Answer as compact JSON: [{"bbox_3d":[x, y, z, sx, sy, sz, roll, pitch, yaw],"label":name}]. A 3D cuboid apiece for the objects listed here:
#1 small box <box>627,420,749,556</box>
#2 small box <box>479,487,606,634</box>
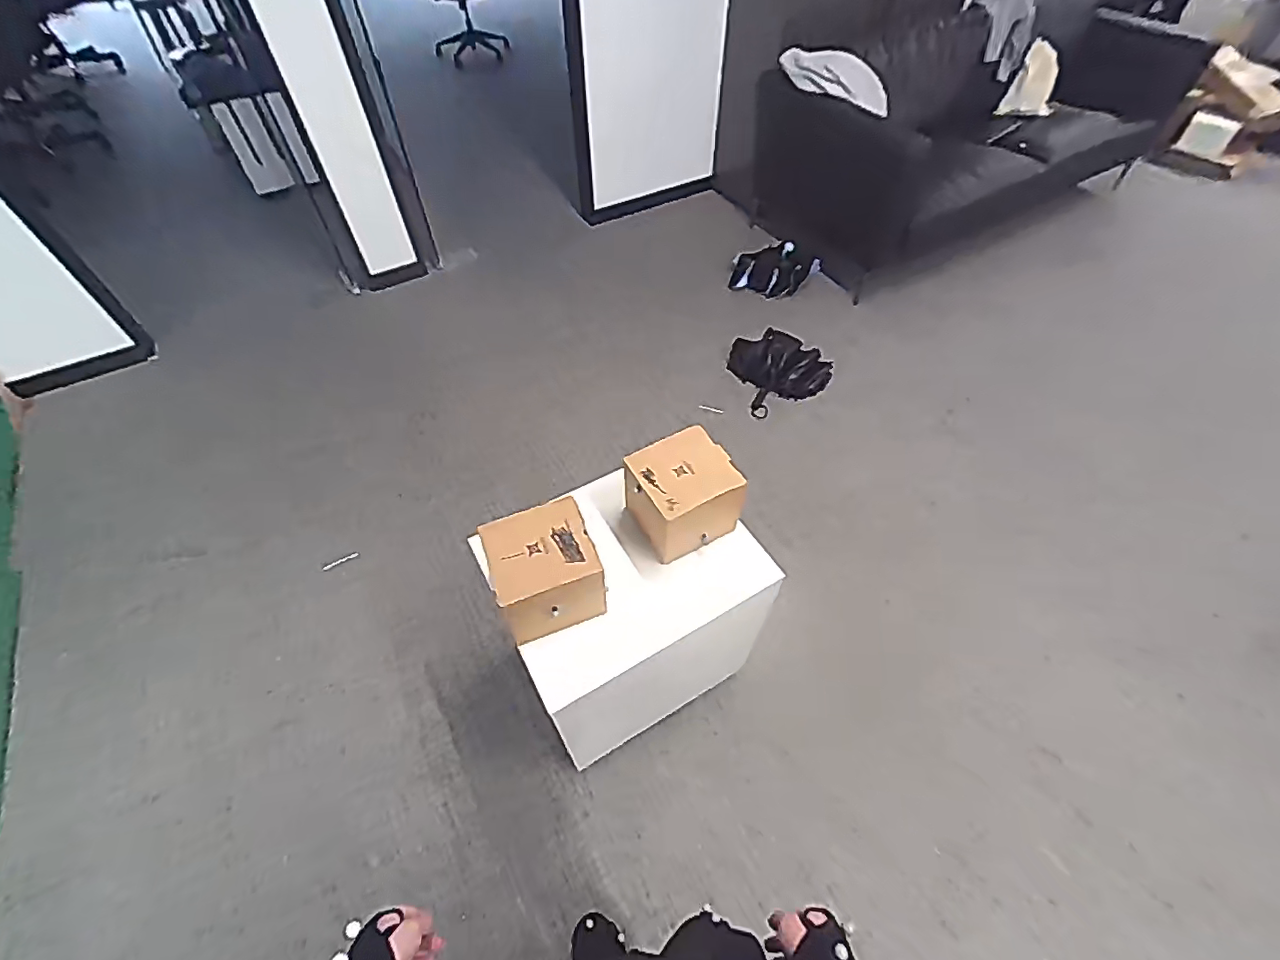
[{"bbox_3d":[0.084,0.018,1.059,0.179,0.176,0.168,-23,57,-18],"label":"small box"},{"bbox_3d":[-0.168,0.144,0.955,0.179,0.176,0.168,-17,55,-15],"label":"small box"}]
